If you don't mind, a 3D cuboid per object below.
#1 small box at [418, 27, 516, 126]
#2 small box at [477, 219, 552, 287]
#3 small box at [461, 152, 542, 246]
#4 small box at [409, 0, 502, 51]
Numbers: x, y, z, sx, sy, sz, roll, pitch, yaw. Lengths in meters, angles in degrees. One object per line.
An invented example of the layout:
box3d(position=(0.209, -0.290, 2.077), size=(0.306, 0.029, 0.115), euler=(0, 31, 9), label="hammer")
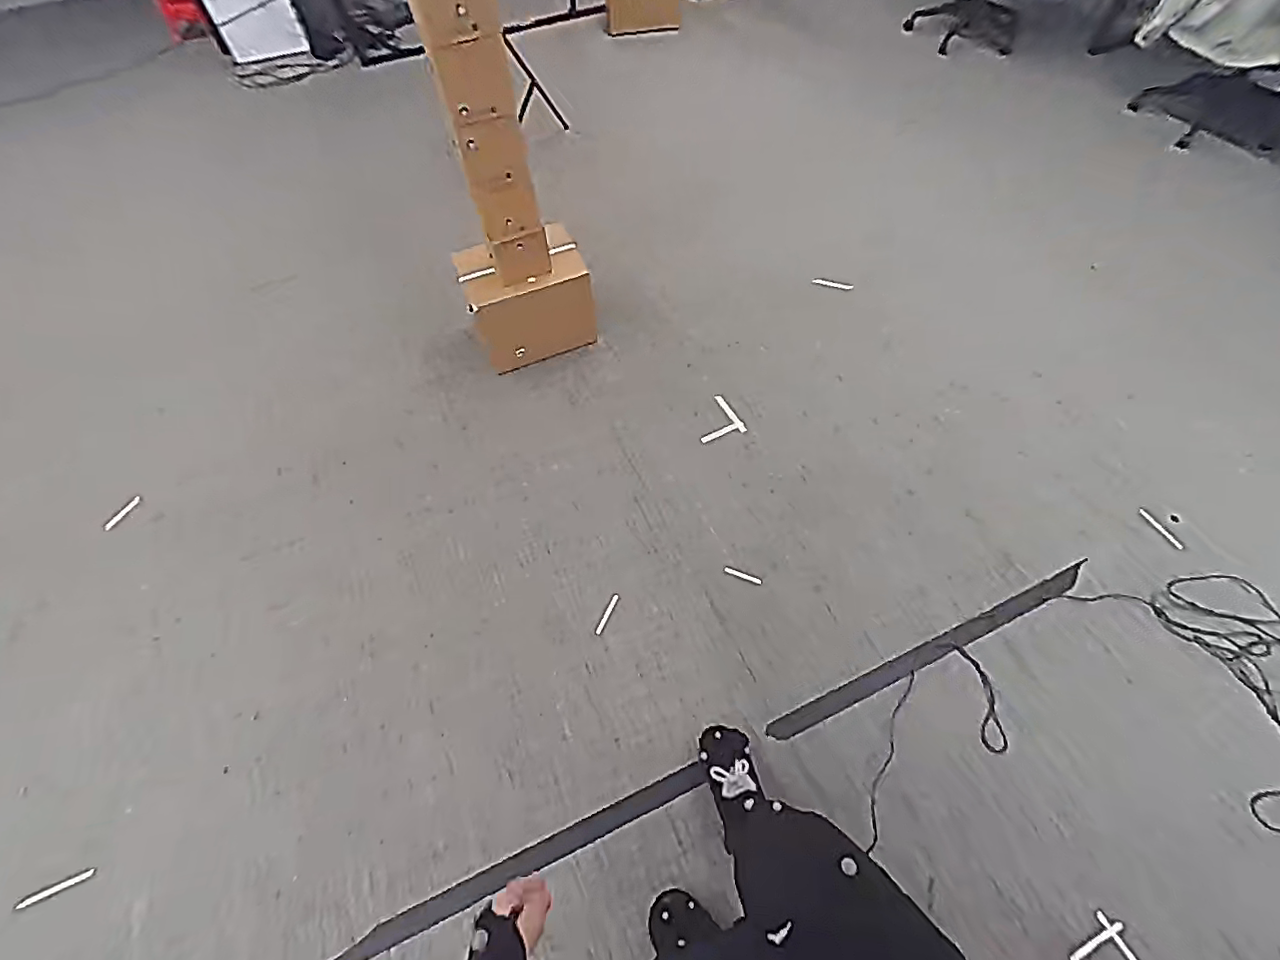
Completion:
box3d(position=(-0.416, -0.996, 1.320), size=(0.168, 0.176, 0.179), euler=(-21, 60, -10), label="small box")
box3d(position=(-0.400, -0.754, 1.746), size=(0.179, 0.176, 0.168), euler=(-23, 62, -12), label="small box")
box3d(position=(-0.407, -0.830, 1.603), size=(0.168, 0.176, 0.179), euler=(-23, 62, -11), label="small box")
box3d(position=(-0.420, -1.078, 1.177), size=(0.168, 0.176, 0.179), euler=(-24, 62, -11), label="small box")
